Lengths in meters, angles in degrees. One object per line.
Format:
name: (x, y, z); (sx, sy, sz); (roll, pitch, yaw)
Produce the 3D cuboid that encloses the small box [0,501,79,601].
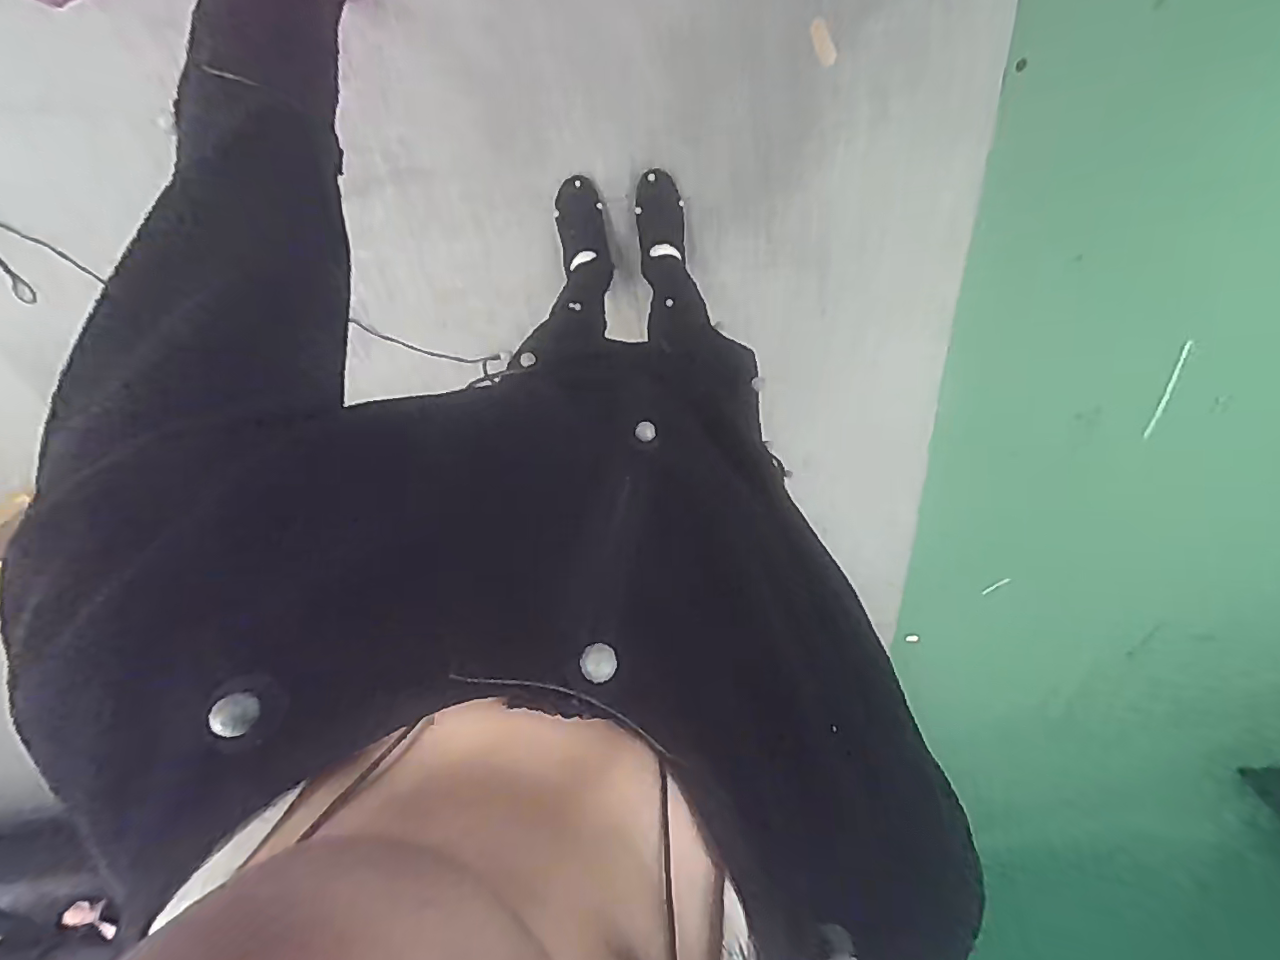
small box: (-1.511, 0.170, 1.283); (0.179, 0.176, 0.168); (-12, 125, 4)
